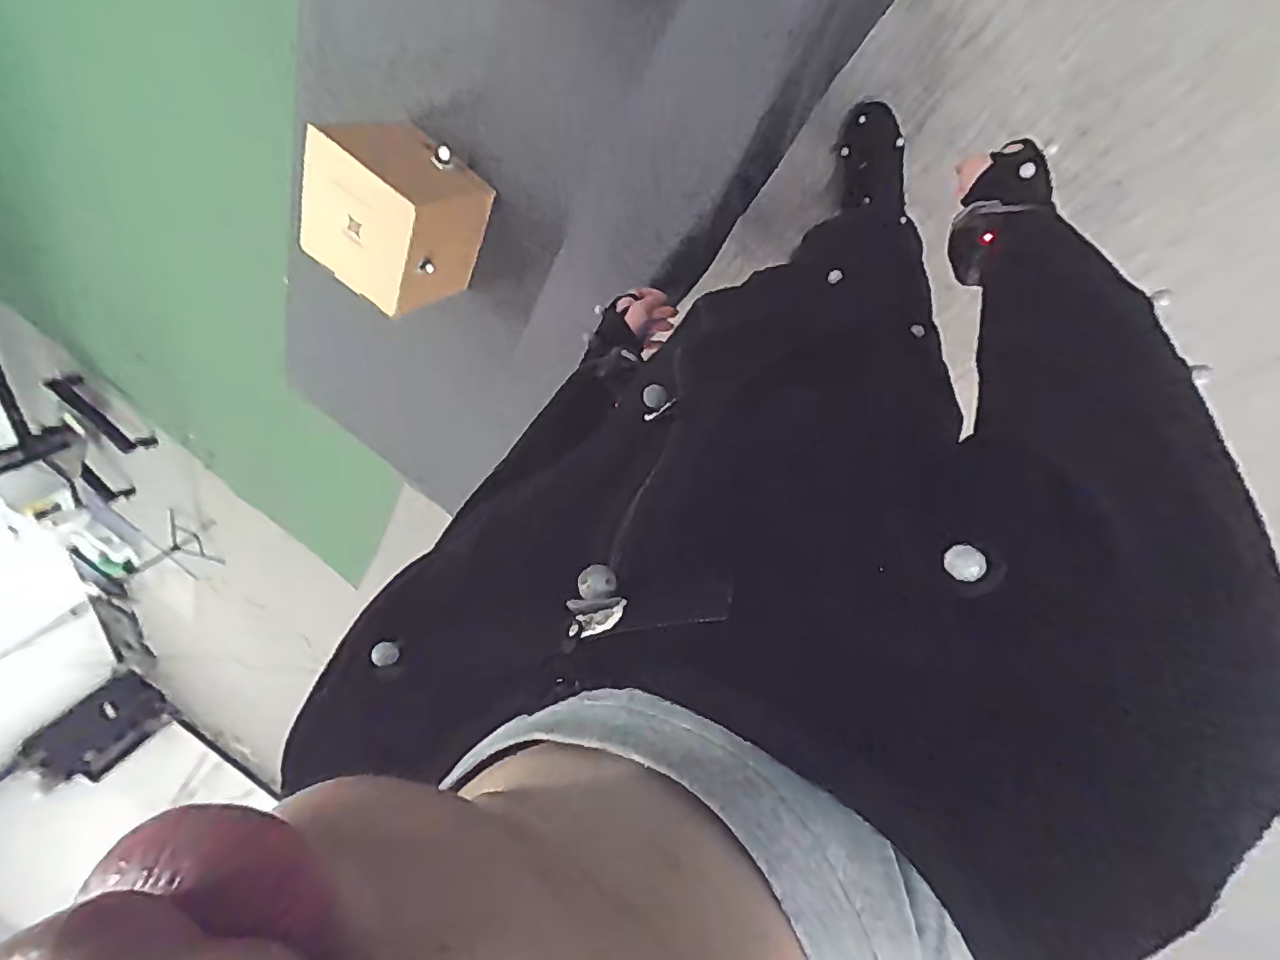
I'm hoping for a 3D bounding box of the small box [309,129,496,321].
[{"bbox_3d":[-0.331,-0.364,0.768,0.168,0.176,0.179,37,131,0],"label":"small box"}]
